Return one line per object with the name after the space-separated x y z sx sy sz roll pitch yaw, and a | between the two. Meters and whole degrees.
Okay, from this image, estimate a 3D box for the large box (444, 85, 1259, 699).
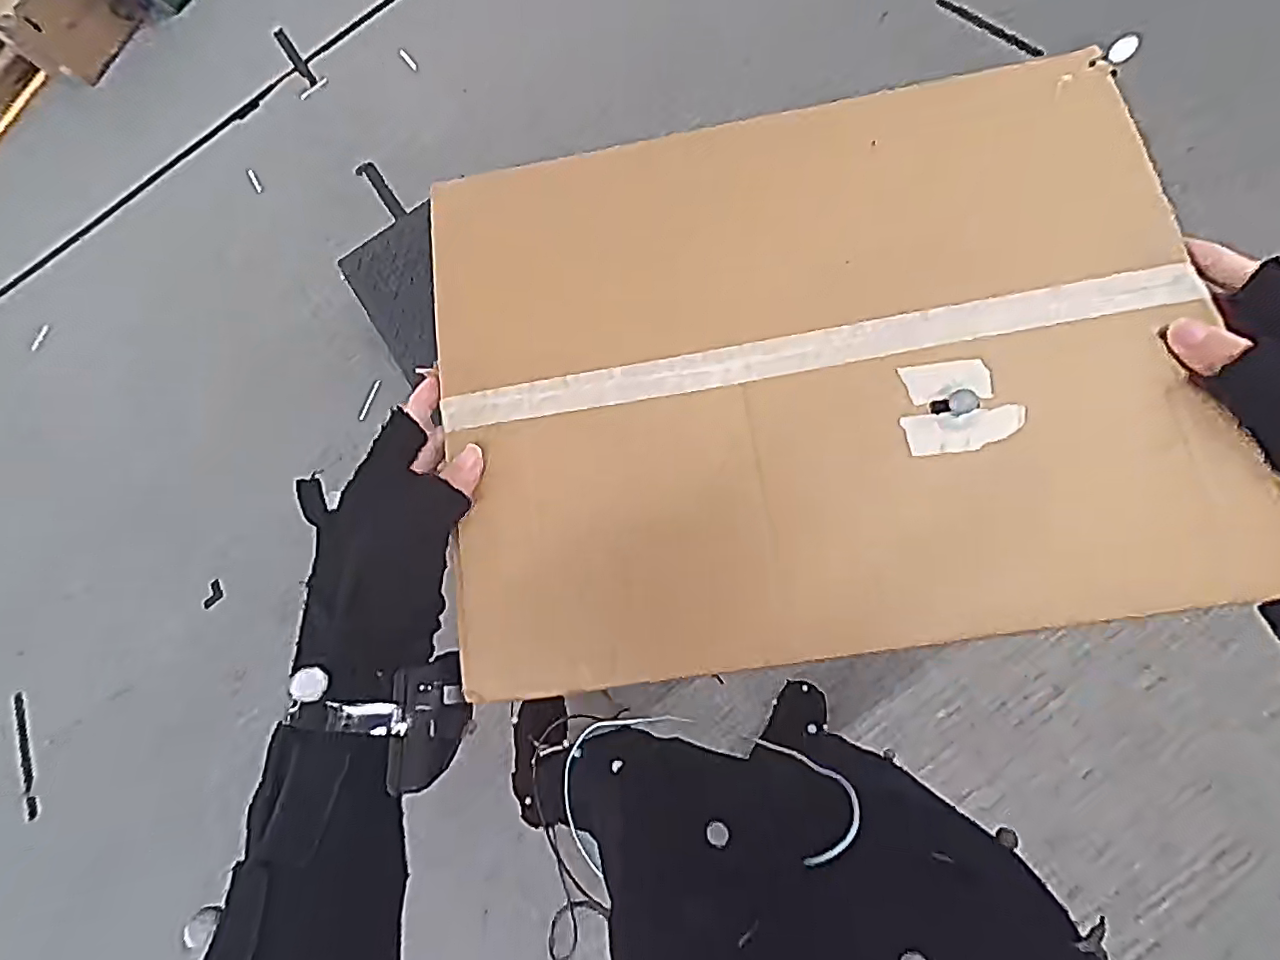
0.101 -0.032 0.455 0.408 0.320 0.320 -10 78 3 | large box
